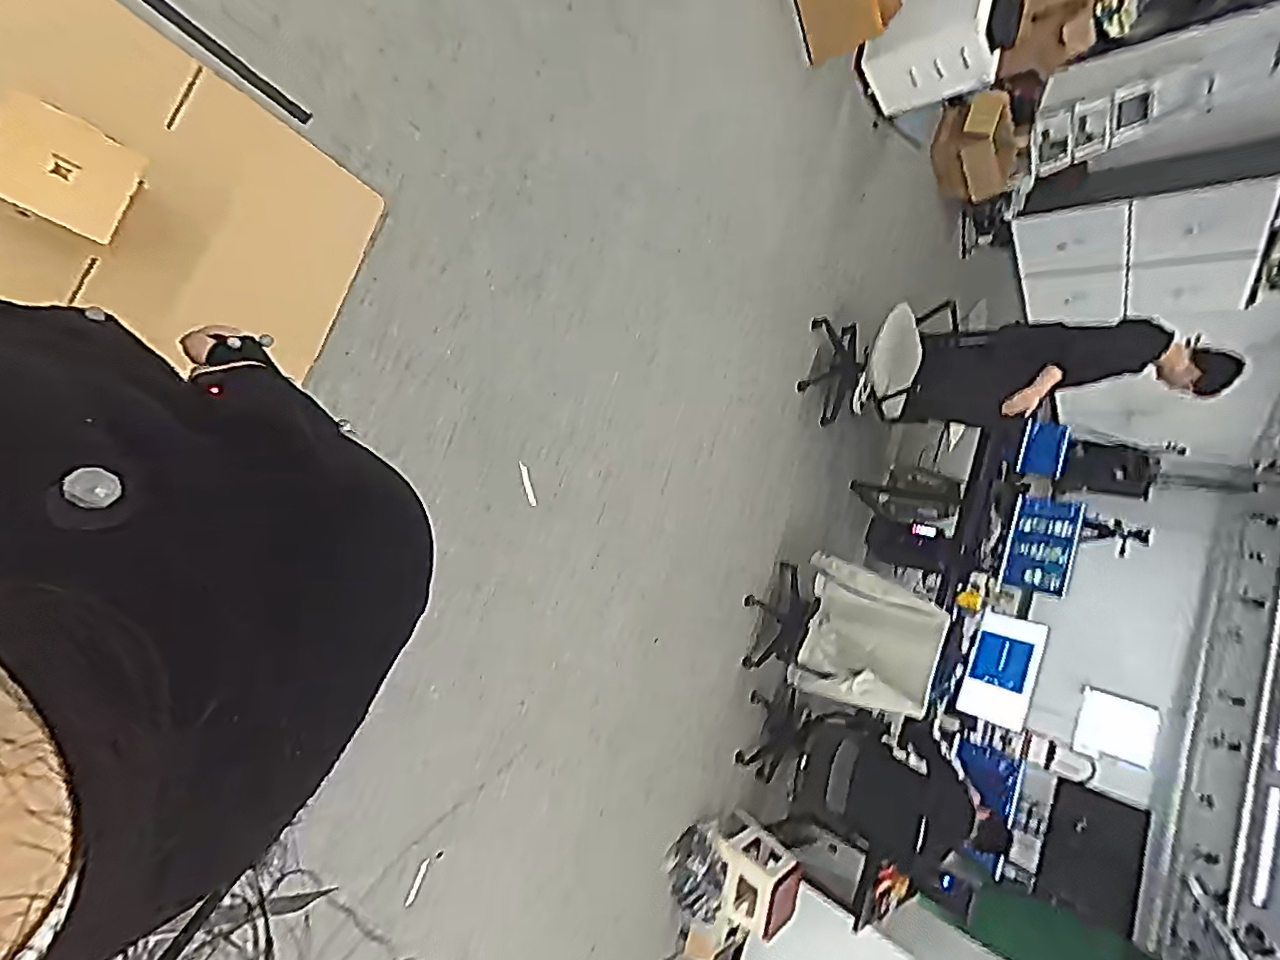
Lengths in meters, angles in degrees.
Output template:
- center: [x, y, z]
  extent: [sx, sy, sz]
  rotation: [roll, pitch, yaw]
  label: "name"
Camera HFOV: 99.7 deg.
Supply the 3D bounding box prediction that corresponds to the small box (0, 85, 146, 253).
- center: [-1.001, -0.521, 0.938]
  extent: [0.168, 0.176, 0.179]
  rotation: [26, 80, -46]
  label: "small box"
